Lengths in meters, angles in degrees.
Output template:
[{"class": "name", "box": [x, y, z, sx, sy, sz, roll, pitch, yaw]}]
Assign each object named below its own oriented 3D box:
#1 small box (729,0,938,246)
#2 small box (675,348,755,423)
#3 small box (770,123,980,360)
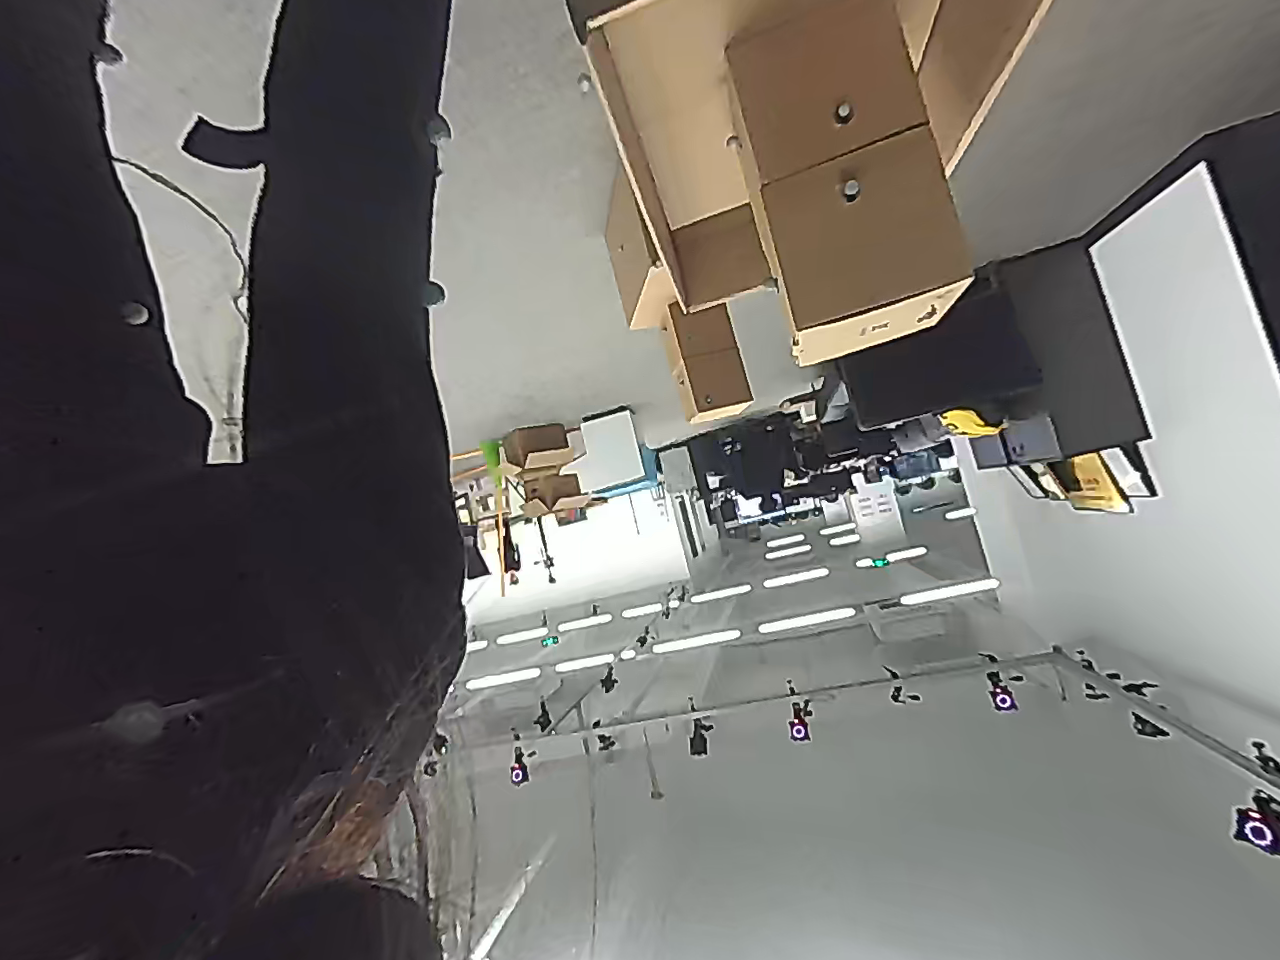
[{"class": "small box", "box": [0.216, -0.419, 0.643, 0.179, 0.176, 0.168, -15, 175, 12]}, {"class": "small box", "box": [0.221, -0.286, 1.629, 0.179, 0.176, 0.168, -14, 176, -7]}, {"class": "small box", "box": [0.253, -0.261, 0.627, 0.179, 0.176, 0.168, -14, 176, 15]}]
